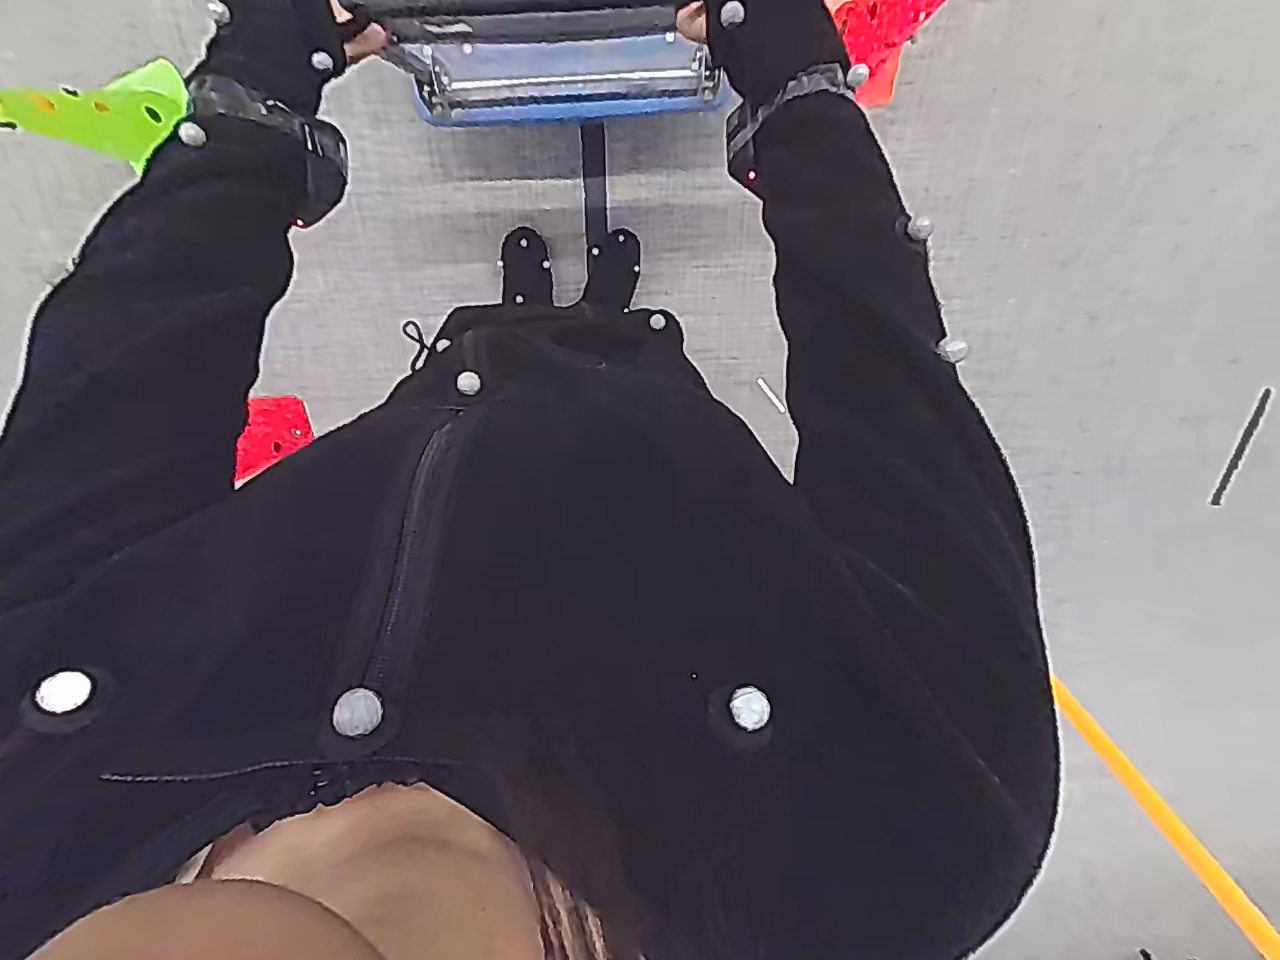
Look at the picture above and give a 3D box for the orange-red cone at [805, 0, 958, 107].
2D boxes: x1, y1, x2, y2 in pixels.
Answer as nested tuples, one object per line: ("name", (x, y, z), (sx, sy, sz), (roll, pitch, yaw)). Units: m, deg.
("orange-red cone", (0.456, -0.804, 0.942), (0.199, 0.360, 0.198), (4, 117, -6))
